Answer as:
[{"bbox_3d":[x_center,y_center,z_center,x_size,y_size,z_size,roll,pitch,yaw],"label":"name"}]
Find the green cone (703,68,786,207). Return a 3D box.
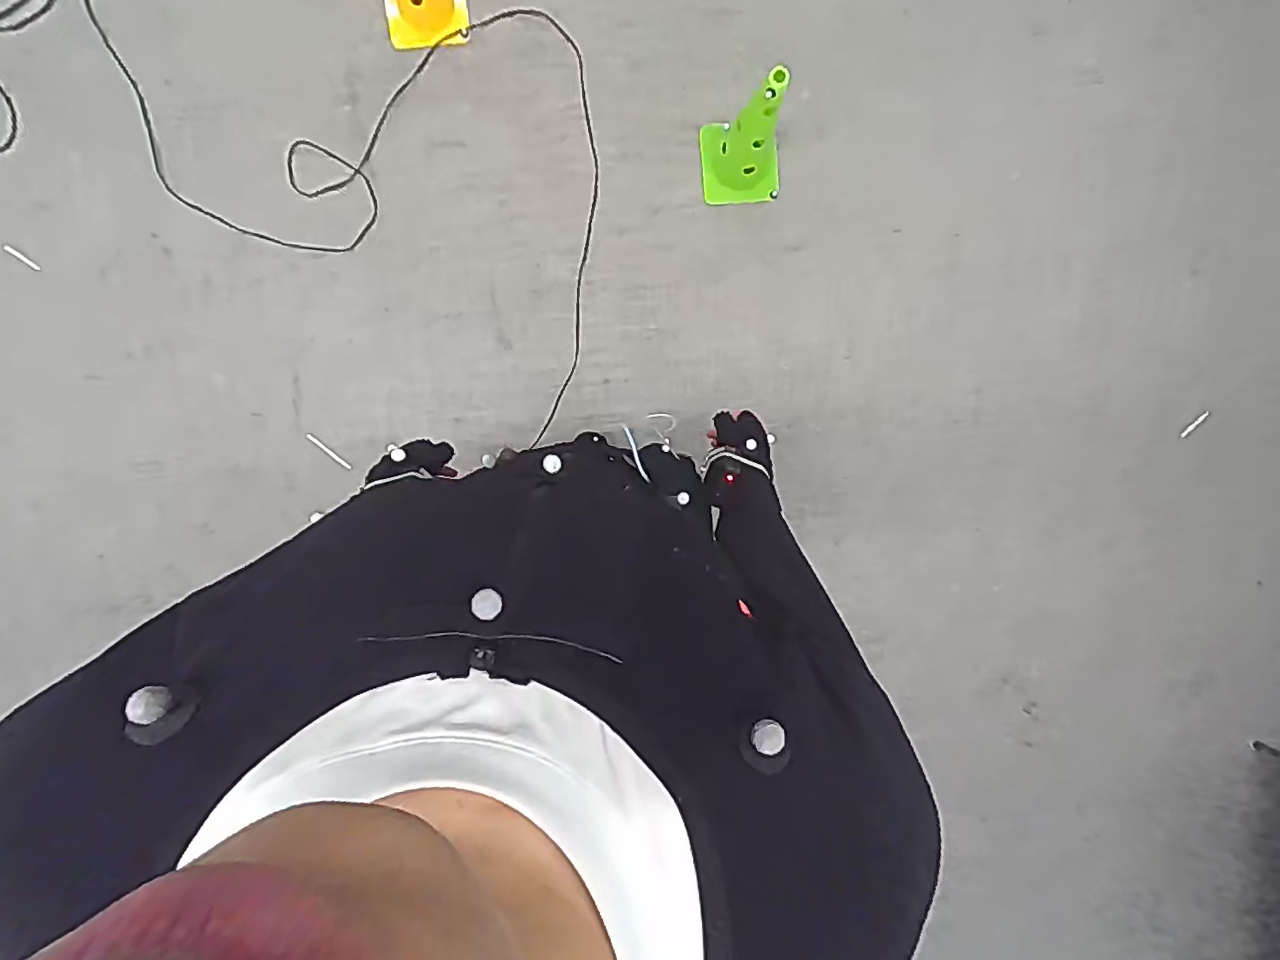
[{"bbox_3d":[0.271,-0.812,1.243,0.202,0.368,0.200,-5,95,0],"label":"green cone"}]
